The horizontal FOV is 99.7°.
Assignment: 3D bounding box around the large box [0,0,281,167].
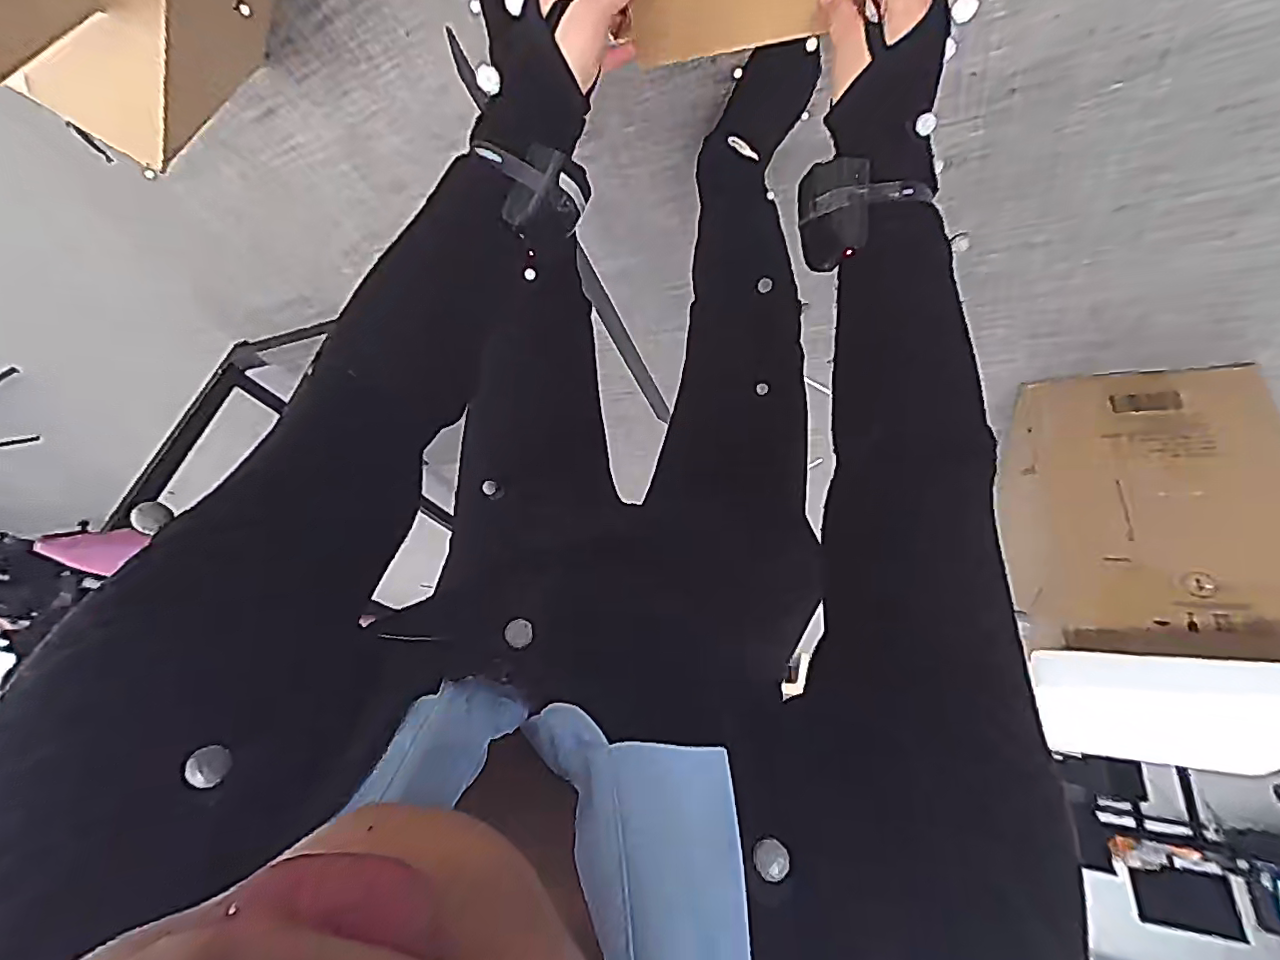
[{"bbox_3d":[-0.645,-0.699,0.634,0.320,0.320,0.408,31,148,-30],"label":"large box"}]
